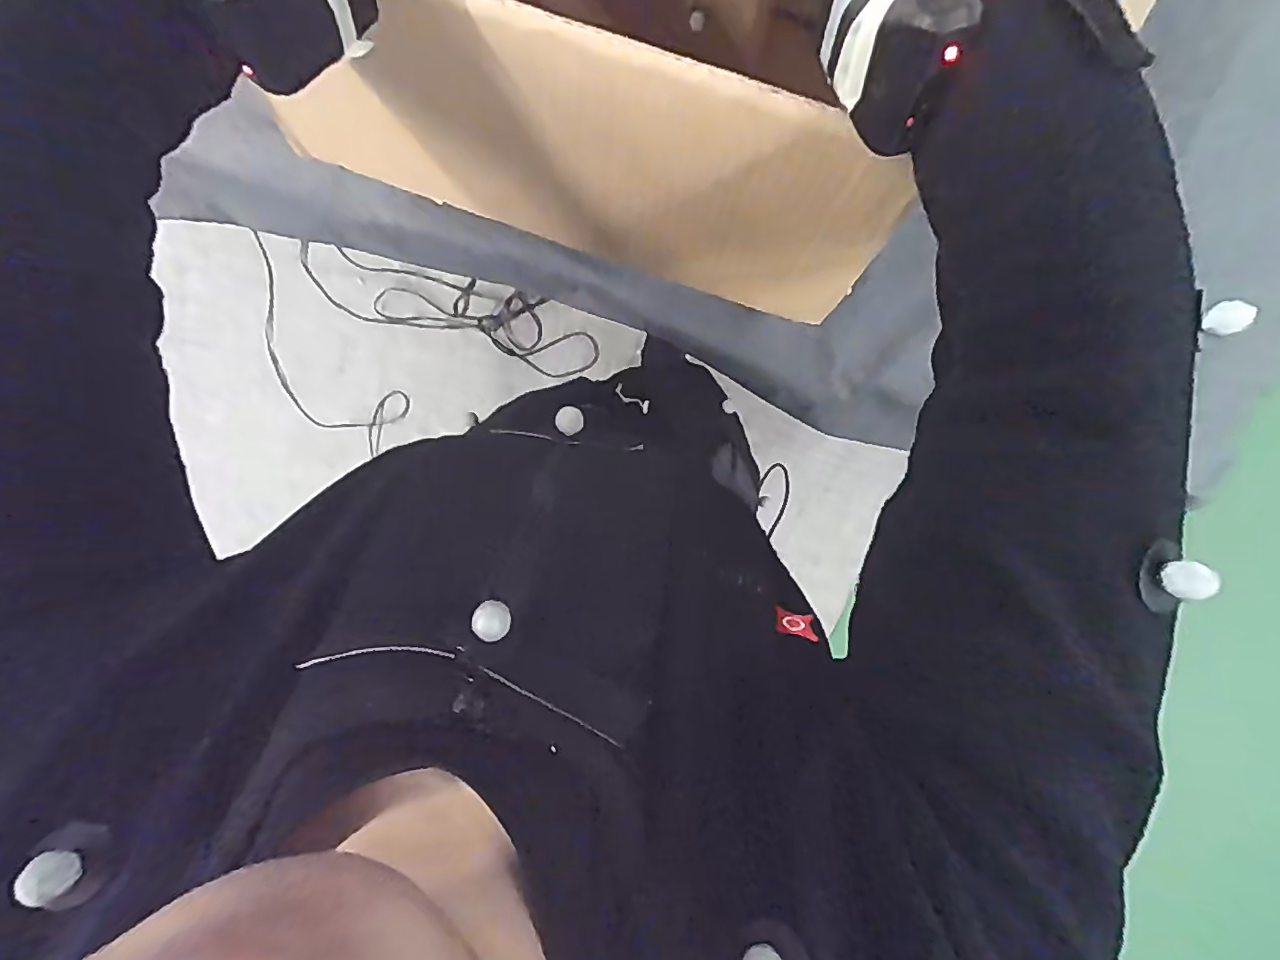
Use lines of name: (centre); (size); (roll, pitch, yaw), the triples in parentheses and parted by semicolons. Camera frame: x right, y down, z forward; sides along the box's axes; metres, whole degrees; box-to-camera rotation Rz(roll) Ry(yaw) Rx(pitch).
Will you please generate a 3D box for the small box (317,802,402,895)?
small box: (-0.908, 1.190, 1.759); (0.179, 0.176, 0.168); (18, 108, -2)
